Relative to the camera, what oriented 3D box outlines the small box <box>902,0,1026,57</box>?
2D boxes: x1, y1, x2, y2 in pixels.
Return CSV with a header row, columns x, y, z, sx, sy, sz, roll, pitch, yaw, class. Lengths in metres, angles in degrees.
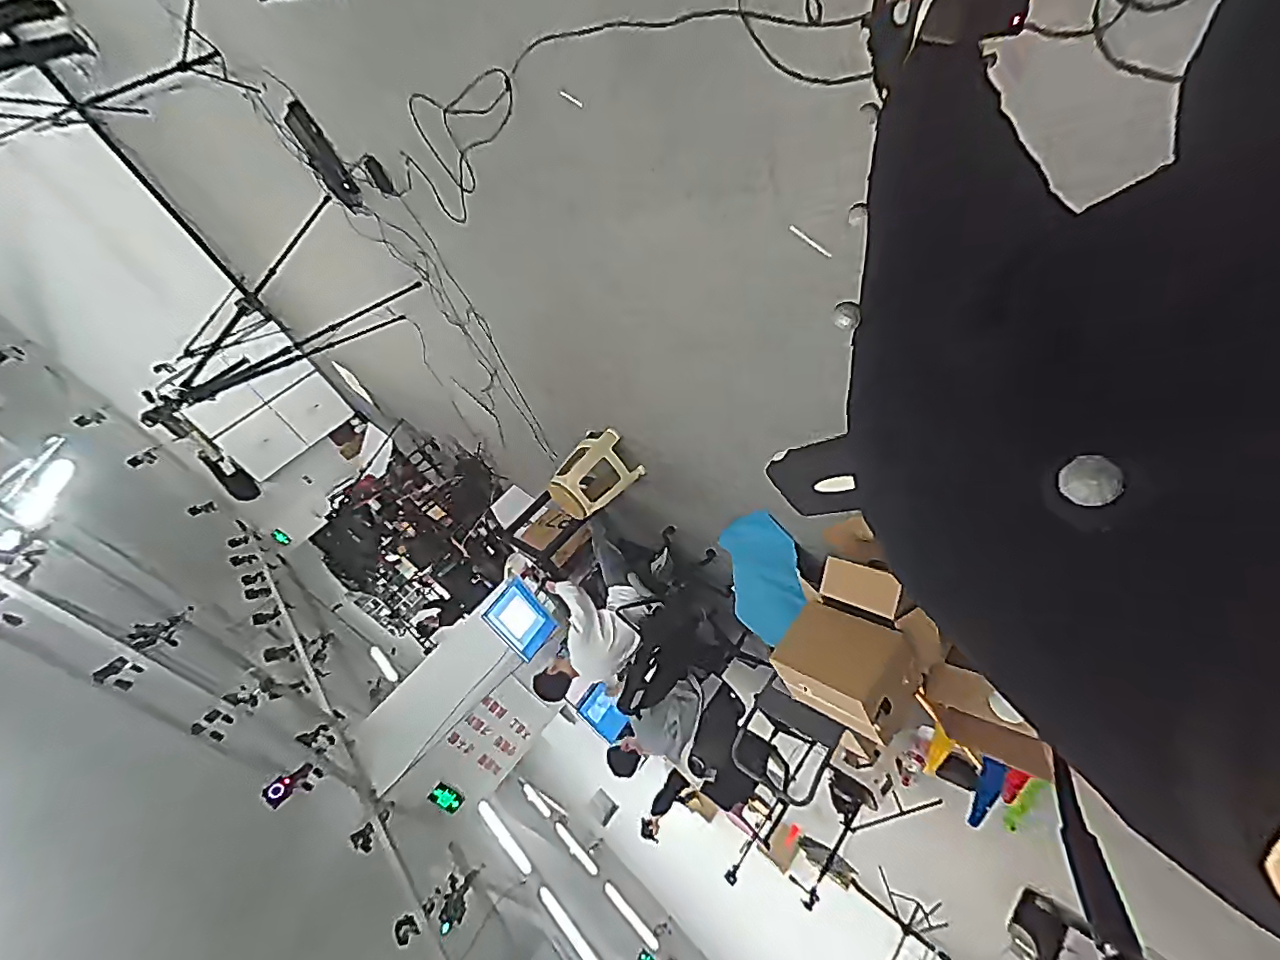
x,y,z,sx,sy,sz,roll,pitch,yaw,class
0.329,-0.553,0.517,0.168,0.179,0.176,31,136,-3,small box
